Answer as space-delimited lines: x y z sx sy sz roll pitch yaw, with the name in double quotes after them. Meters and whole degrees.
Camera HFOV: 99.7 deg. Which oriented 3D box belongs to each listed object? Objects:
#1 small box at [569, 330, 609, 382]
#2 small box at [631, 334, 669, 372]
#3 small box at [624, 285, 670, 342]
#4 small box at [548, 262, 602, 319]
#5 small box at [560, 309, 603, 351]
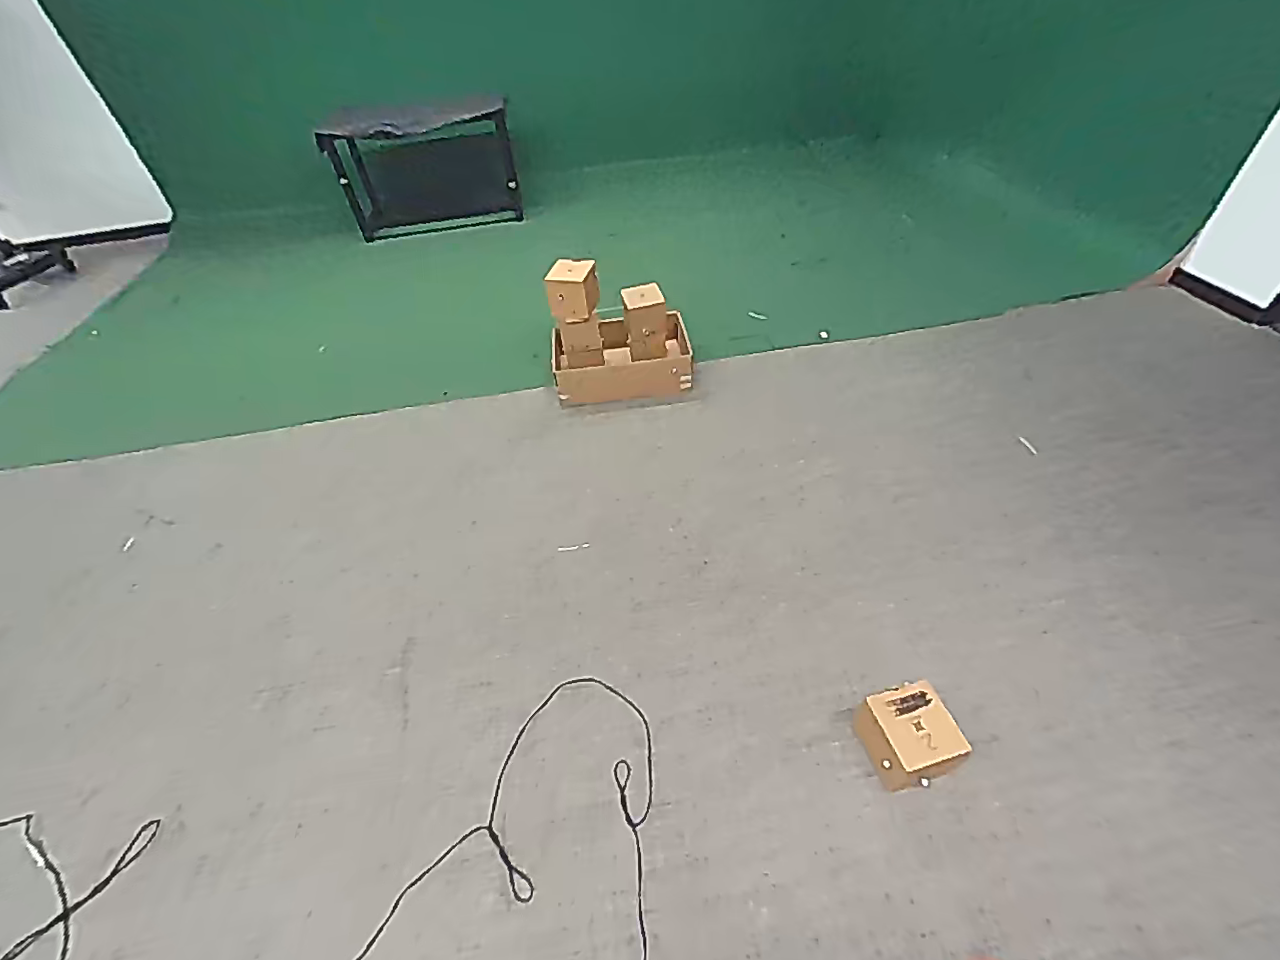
-0.242 -0.575 2.500 0.168 0.176 0.179 -9 46 -4 "small box"
0.045 -0.629 2.528 0.168 0.176 0.179 -6 46 1 "small box"
0.031 -0.739 2.409 0.168 0.176 0.179 -14 48 -4 "small box"
-0.264 -0.789 2.254 0.168 0.176 0.179 8 46 12 "small box"
-0.257 -0.681 2.375 0.168 0.176 0.179 -8 45 -3 "small box"
